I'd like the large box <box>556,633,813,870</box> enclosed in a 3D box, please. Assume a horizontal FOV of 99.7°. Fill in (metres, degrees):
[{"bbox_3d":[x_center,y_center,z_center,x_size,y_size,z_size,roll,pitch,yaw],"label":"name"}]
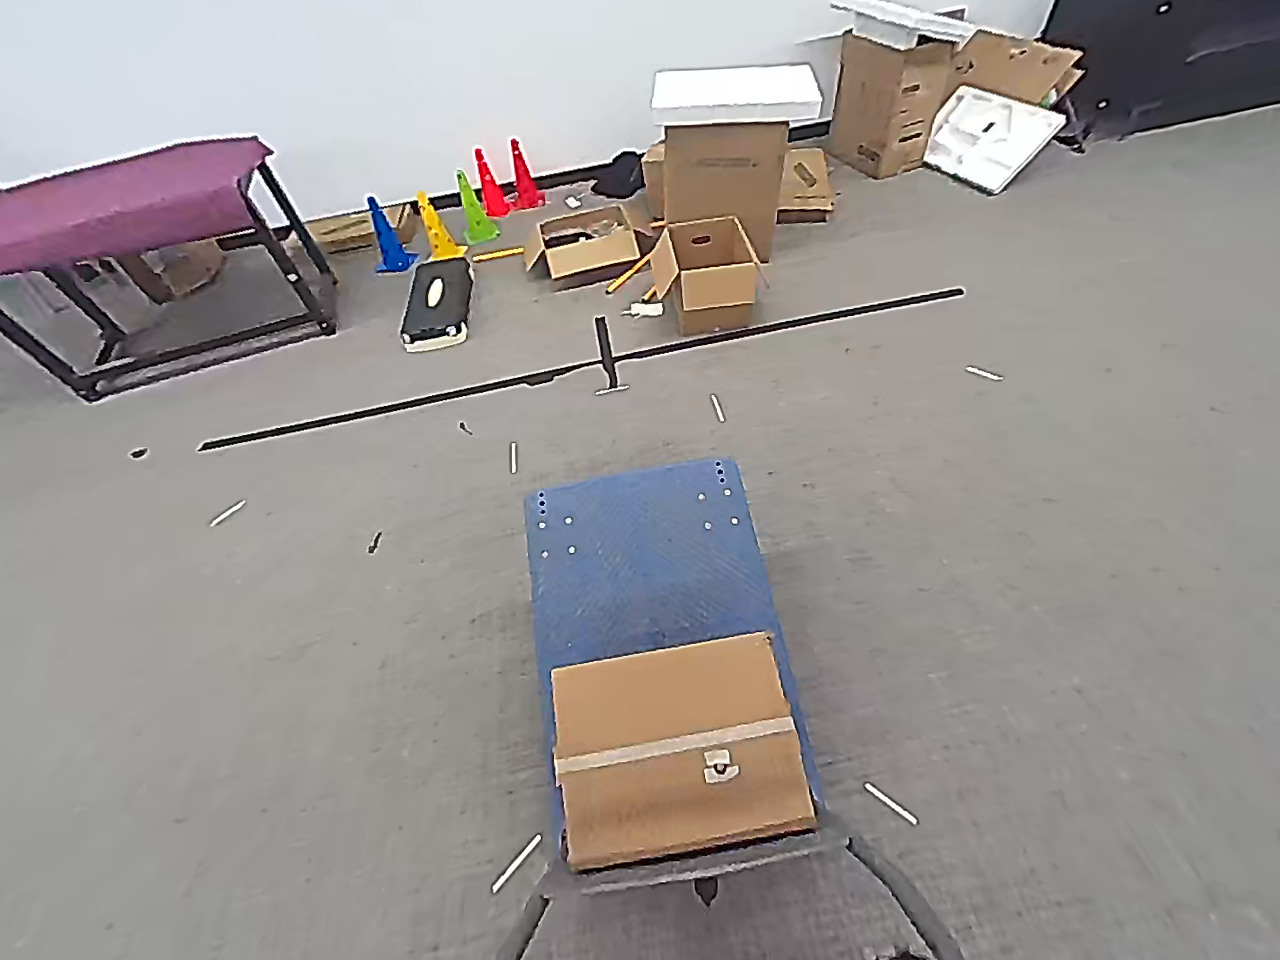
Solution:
[{"bbox_3d":[0.071,0.518,1.077,0.408,0.320,0.320,-10,68,-2],"label":"large box"}]
